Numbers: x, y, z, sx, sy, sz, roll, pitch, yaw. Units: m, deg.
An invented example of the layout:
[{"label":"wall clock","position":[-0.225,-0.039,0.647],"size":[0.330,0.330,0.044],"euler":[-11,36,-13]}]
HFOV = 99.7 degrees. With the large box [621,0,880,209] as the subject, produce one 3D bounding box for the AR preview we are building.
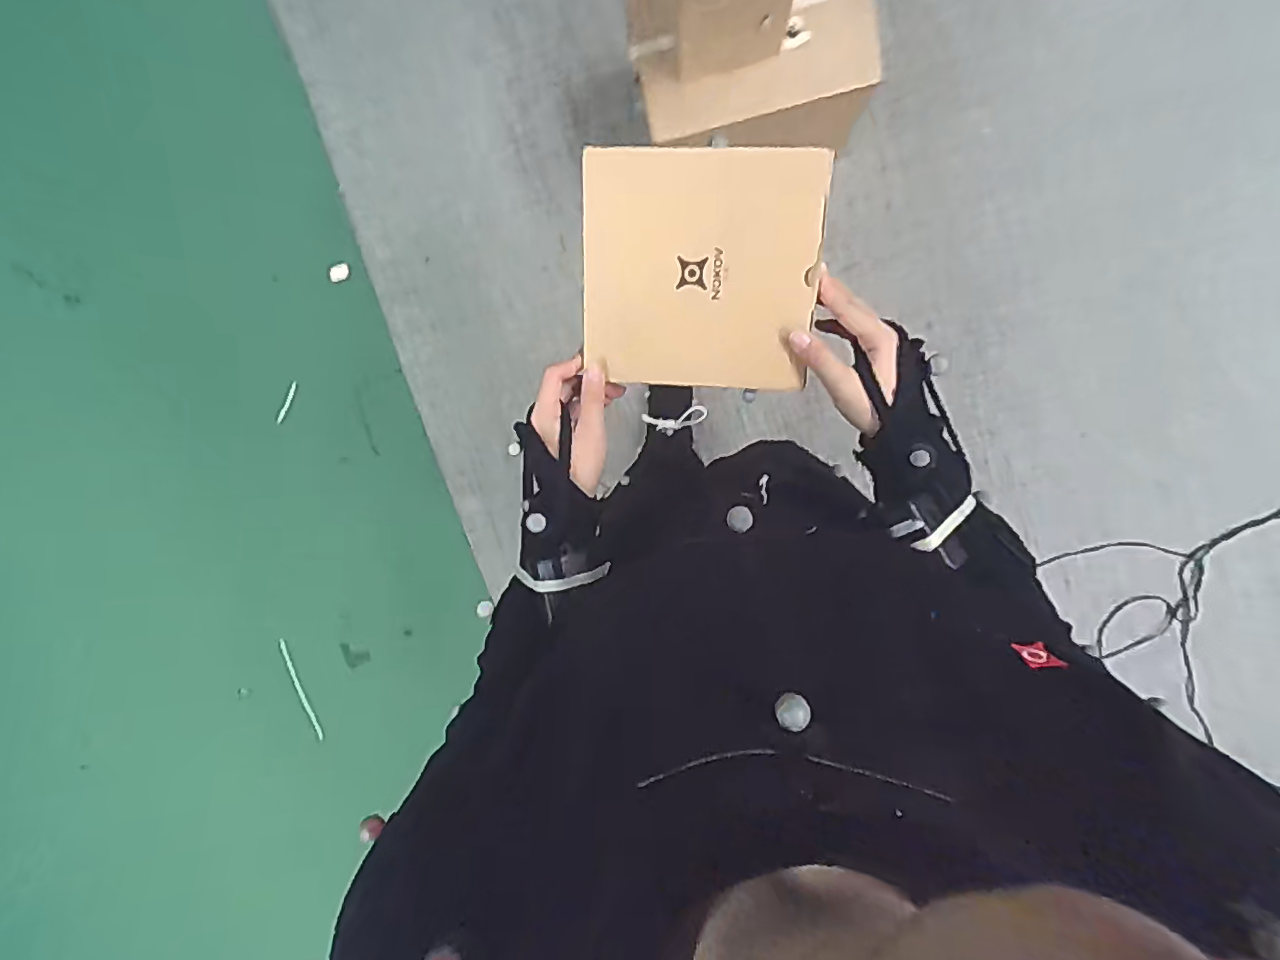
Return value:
[{"label":"large box","position":[0.201,-0.800,1.081],"size":[0.408,0.320,0.320],"euler":[-12,97,7]}]
